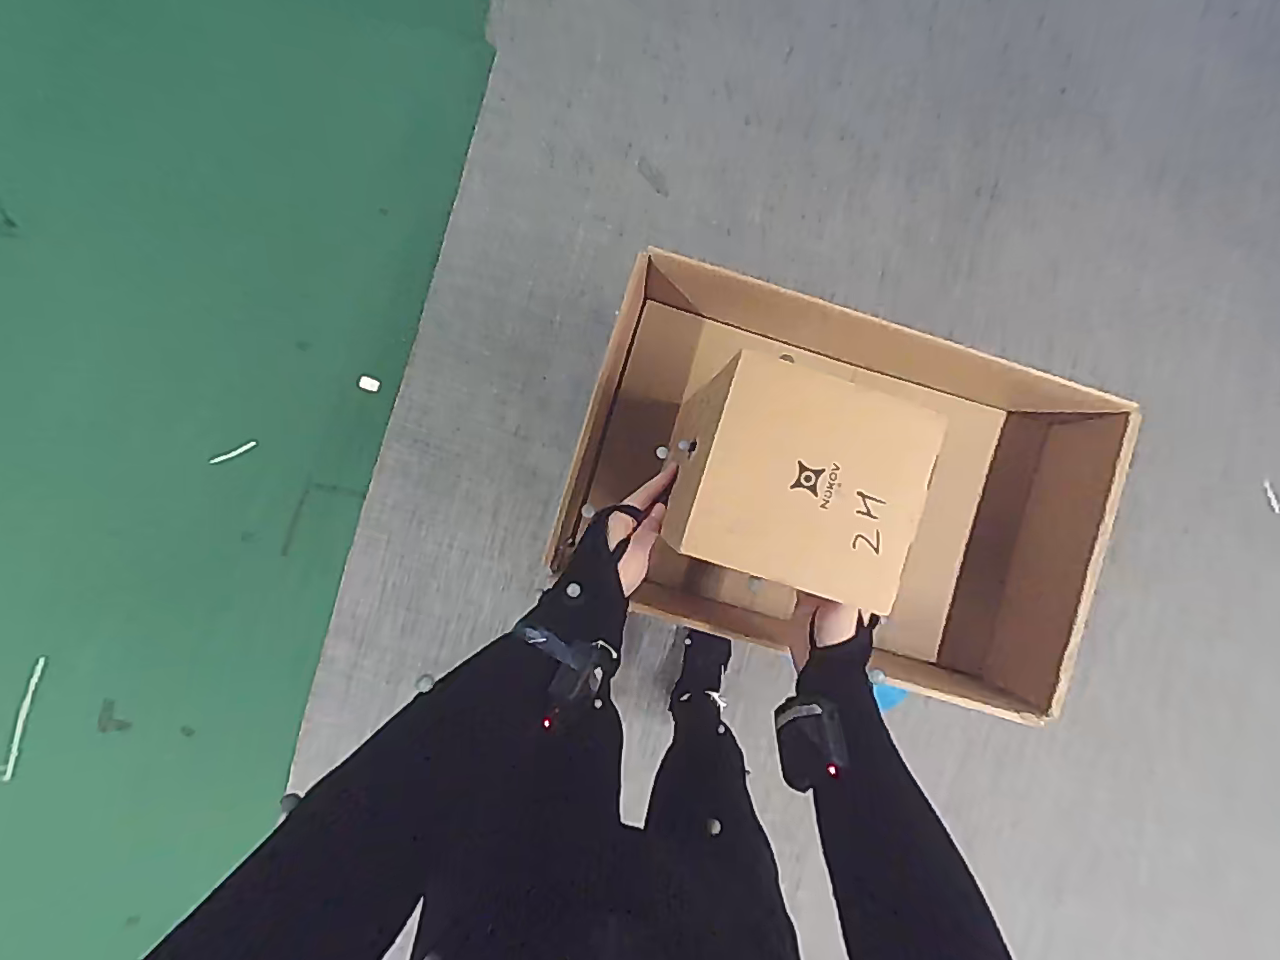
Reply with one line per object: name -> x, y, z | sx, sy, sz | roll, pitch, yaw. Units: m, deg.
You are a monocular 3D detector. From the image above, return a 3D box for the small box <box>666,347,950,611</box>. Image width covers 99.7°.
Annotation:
small box -> 0.132, 0.001, 0.494 | 0.179, 0.176, 0.168 | 17, 89, -3
